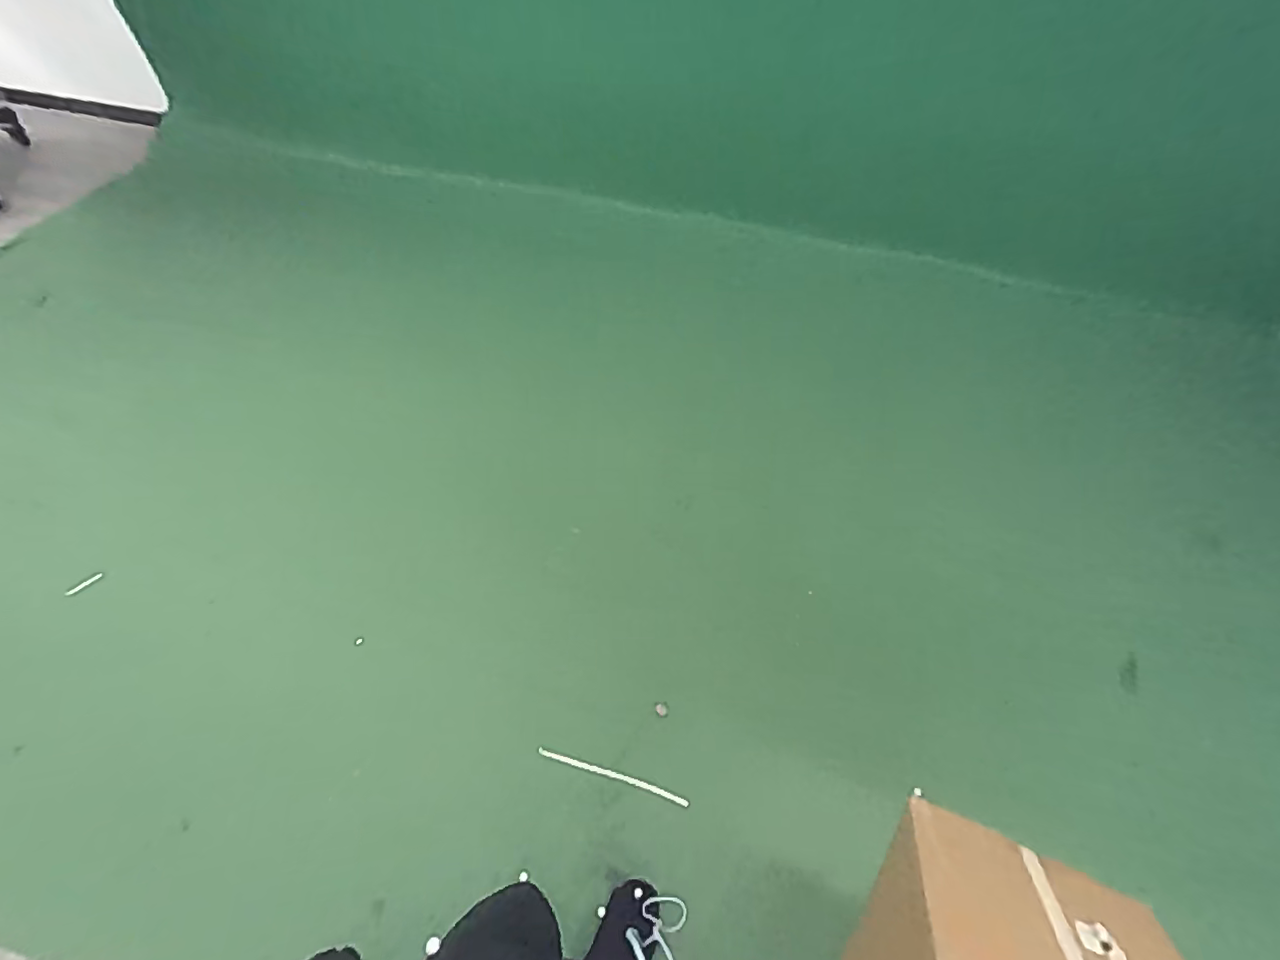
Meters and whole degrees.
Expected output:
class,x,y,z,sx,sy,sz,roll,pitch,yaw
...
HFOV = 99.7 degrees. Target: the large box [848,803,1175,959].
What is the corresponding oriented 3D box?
class,x,y,z,sx,sy,sz,roll,pitch,yaw
large box,0.438,0.691,0.617,0.320,0.408,0.320,20,100,19
